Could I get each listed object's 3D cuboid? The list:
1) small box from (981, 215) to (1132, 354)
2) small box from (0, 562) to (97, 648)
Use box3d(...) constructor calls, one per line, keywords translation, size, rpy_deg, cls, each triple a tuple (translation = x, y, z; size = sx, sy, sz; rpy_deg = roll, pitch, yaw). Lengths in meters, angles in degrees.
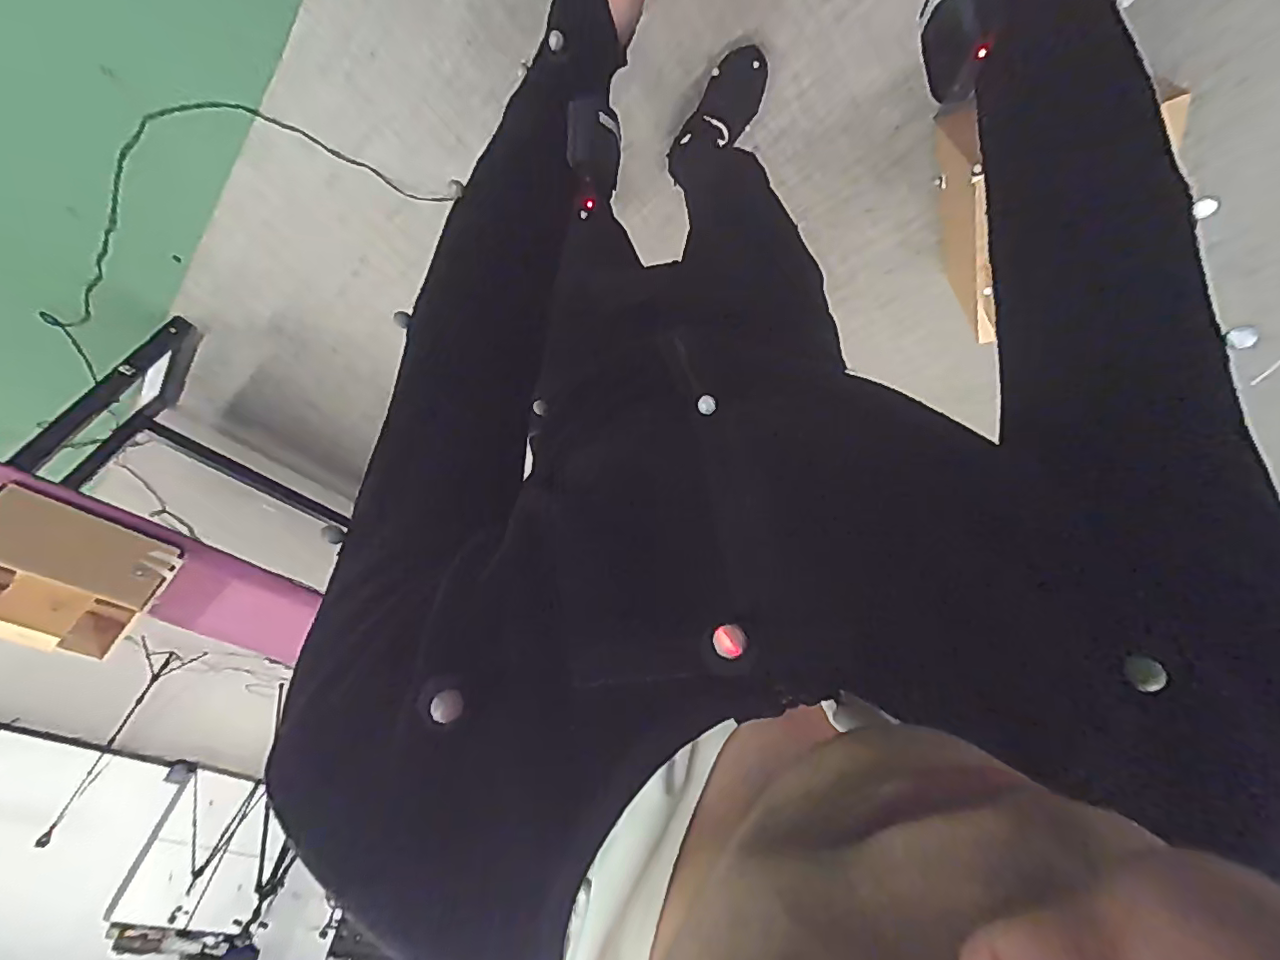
box3d(translation=(0.786, -0.377, 1.041), size=(0.179, 0.176, 0.168), rpy_deg=(-10, 137, 22), cls="small box")
box3d(translation=(-1.709, 0.354, 1.537), size=(0.179, 0.176, 0.168), rpy_deg=(-27, 131, 33), cls="small box")
